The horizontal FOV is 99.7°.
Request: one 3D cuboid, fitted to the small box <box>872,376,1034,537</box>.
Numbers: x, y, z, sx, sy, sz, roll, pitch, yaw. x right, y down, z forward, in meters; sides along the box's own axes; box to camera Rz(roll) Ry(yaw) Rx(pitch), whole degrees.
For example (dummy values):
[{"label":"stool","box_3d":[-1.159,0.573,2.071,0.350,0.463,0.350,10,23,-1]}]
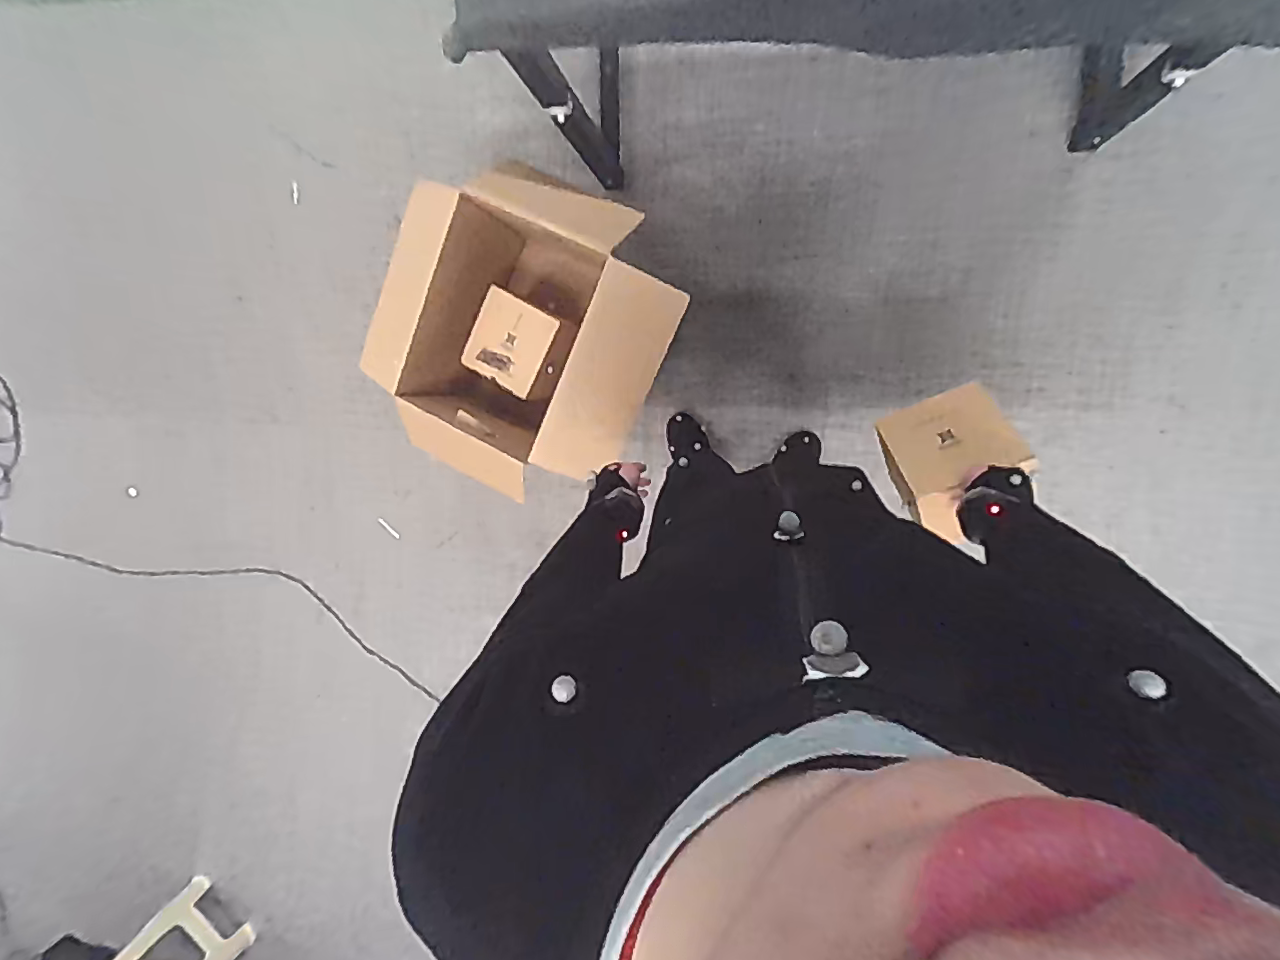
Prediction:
[{"label":"small box","box_3d":[0.501,-0.027,0.873,0.168,0.179,0.176,-22,135,17]}]
